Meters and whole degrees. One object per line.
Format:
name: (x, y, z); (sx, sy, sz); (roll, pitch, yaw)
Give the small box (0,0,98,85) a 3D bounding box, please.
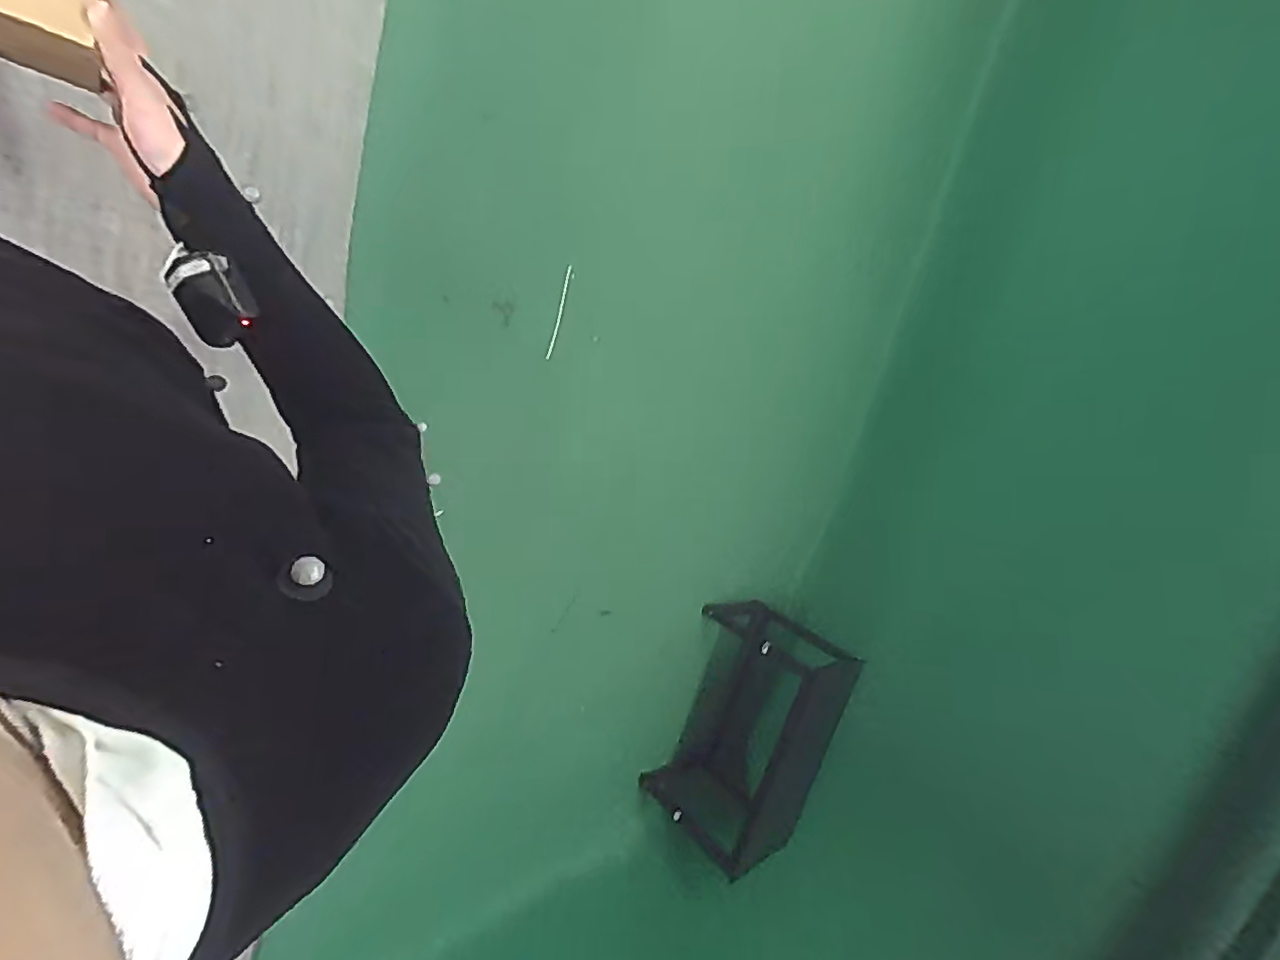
small box: (-0.469, -0.401, 0.350); (0.168, 0.176, 0.179); (1, 109, -45)
